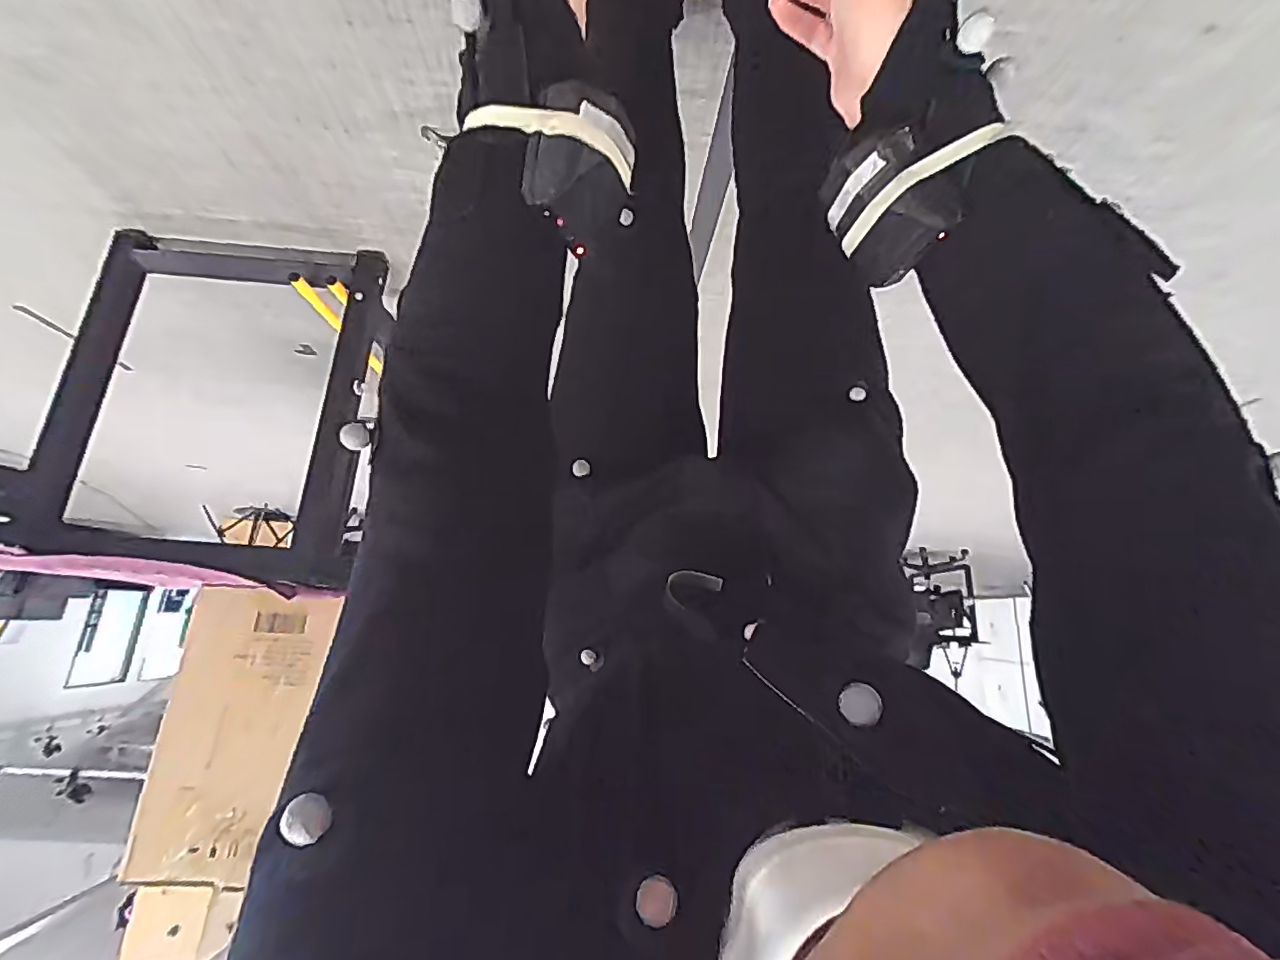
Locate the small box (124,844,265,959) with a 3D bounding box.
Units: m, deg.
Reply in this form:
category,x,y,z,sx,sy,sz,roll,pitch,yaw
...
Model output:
category,x,y,z,sx,sy,sz,roll,pitch,yaw
small box,-1.001,0.956,1.230,0.168,0.176,0.179,3,167,1
